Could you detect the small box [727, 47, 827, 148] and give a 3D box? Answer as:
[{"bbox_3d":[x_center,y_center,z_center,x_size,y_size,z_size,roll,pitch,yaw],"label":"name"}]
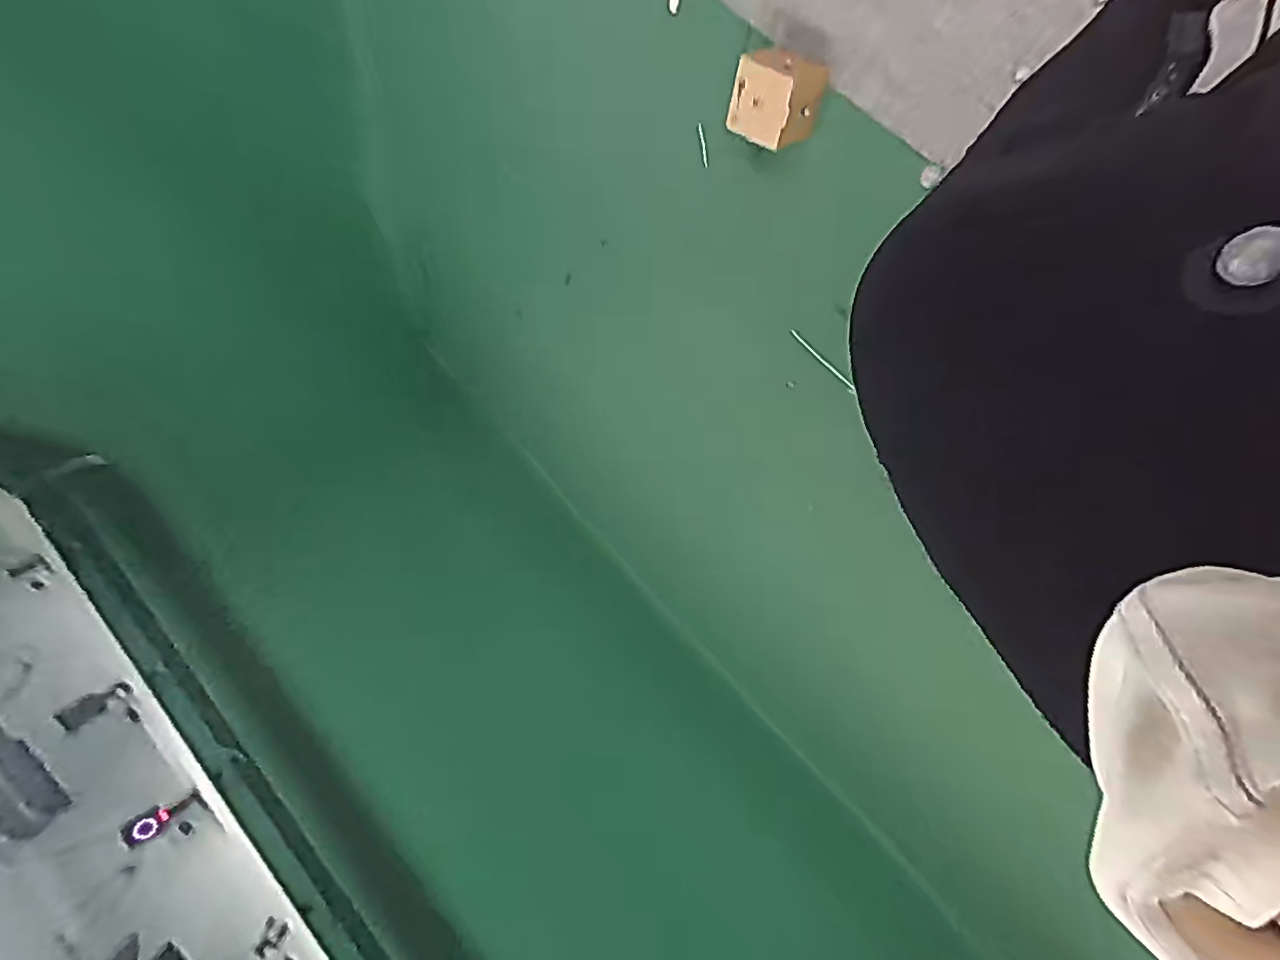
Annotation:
[{"bbox_3d":[0.367,-1.029,1.449,0.179,0.176,0.168,40,148,19],"label":"small box"}]
